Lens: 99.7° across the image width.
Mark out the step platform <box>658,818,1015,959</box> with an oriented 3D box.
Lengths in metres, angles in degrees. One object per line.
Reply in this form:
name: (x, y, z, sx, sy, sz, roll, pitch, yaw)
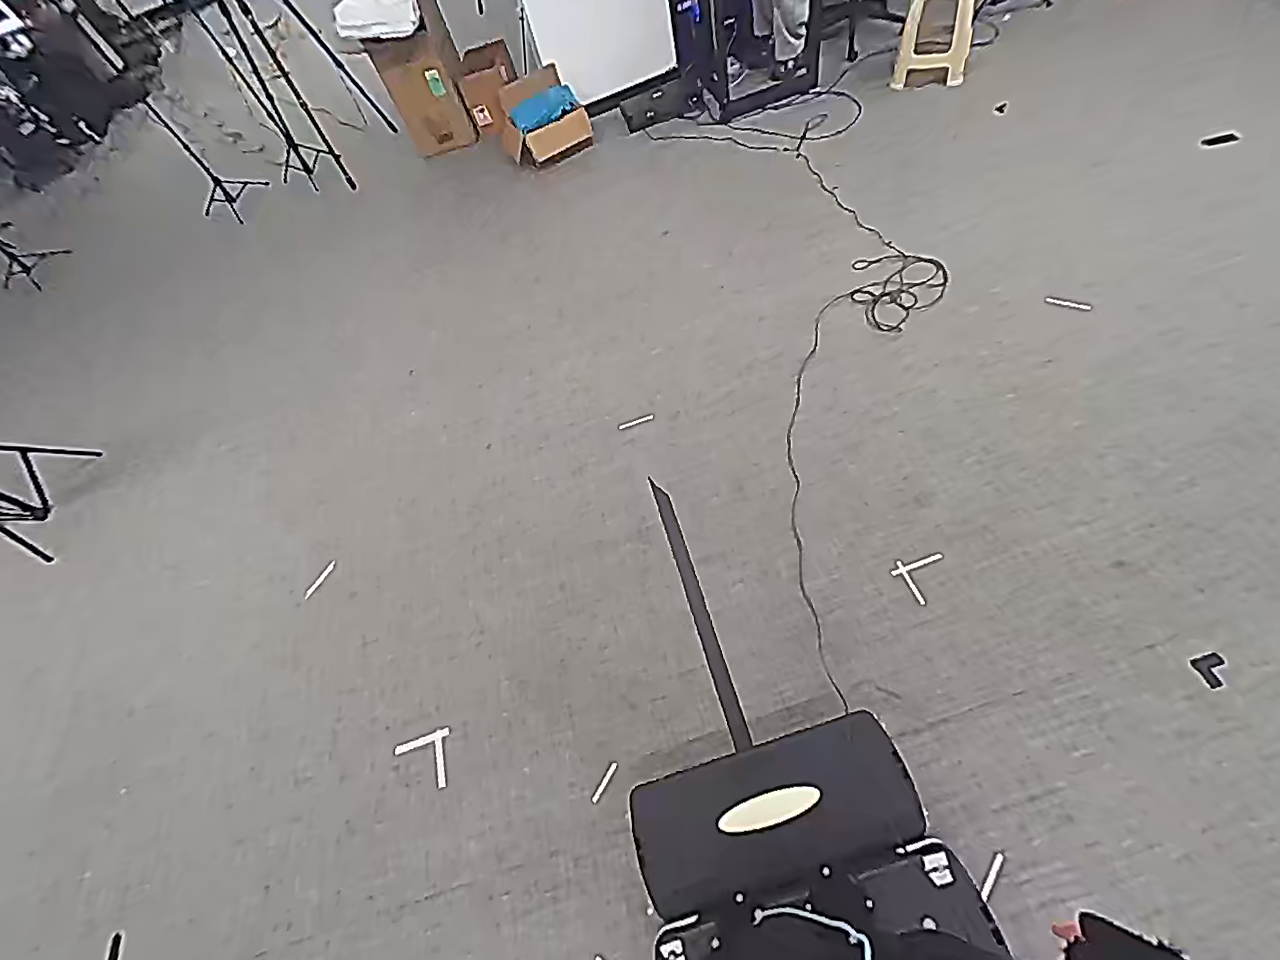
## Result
step platform: (0.384, 0.964, 1.125, 0.684, 0.204, 0.286, -21, 55, 2)
